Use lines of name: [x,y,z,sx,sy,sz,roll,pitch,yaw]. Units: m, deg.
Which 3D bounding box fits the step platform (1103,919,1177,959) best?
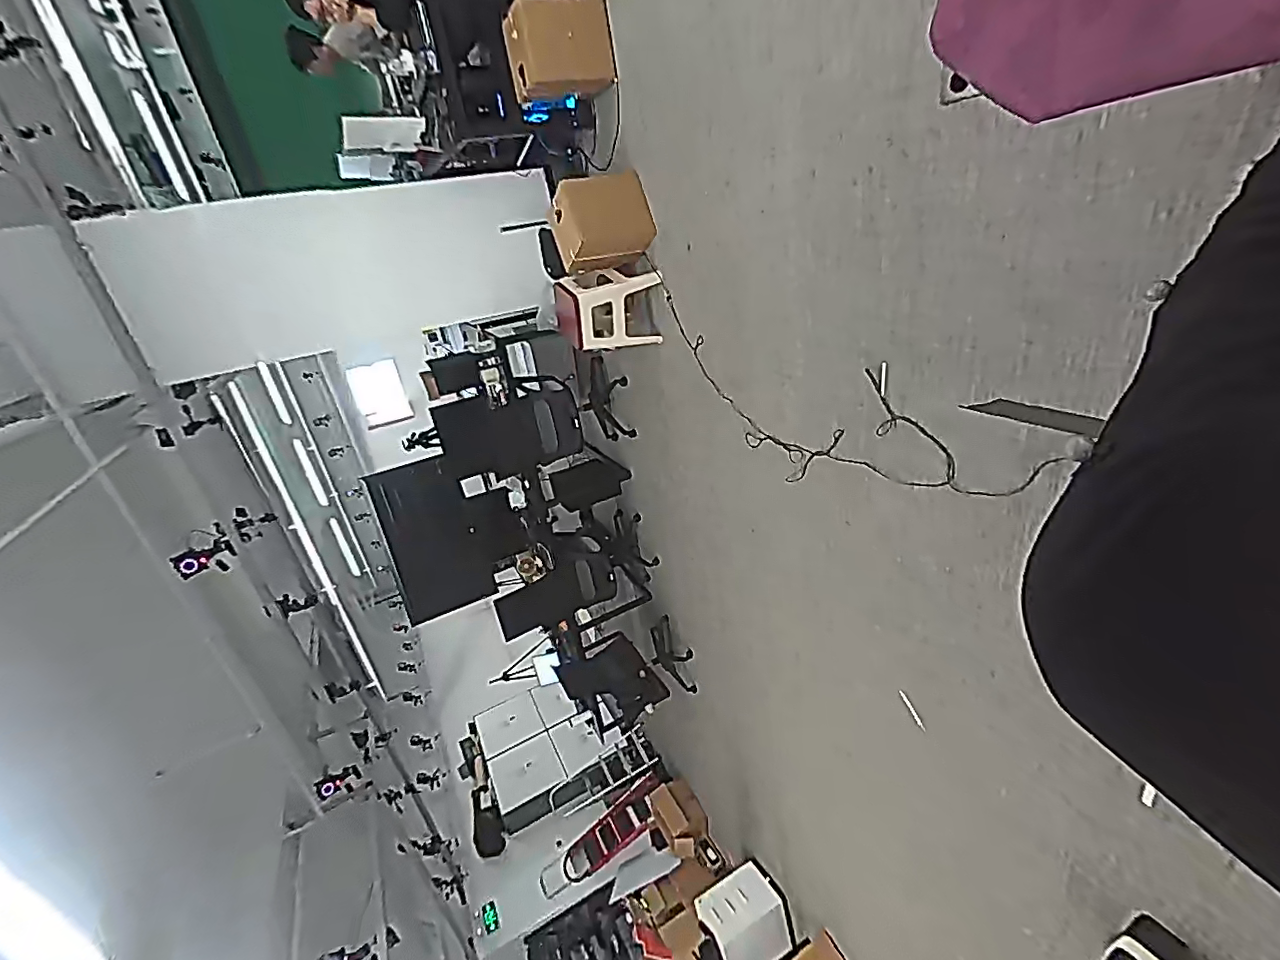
step platform: [1.534,1.510,1.312,0.684,0.204,0.286,33,139,56]
